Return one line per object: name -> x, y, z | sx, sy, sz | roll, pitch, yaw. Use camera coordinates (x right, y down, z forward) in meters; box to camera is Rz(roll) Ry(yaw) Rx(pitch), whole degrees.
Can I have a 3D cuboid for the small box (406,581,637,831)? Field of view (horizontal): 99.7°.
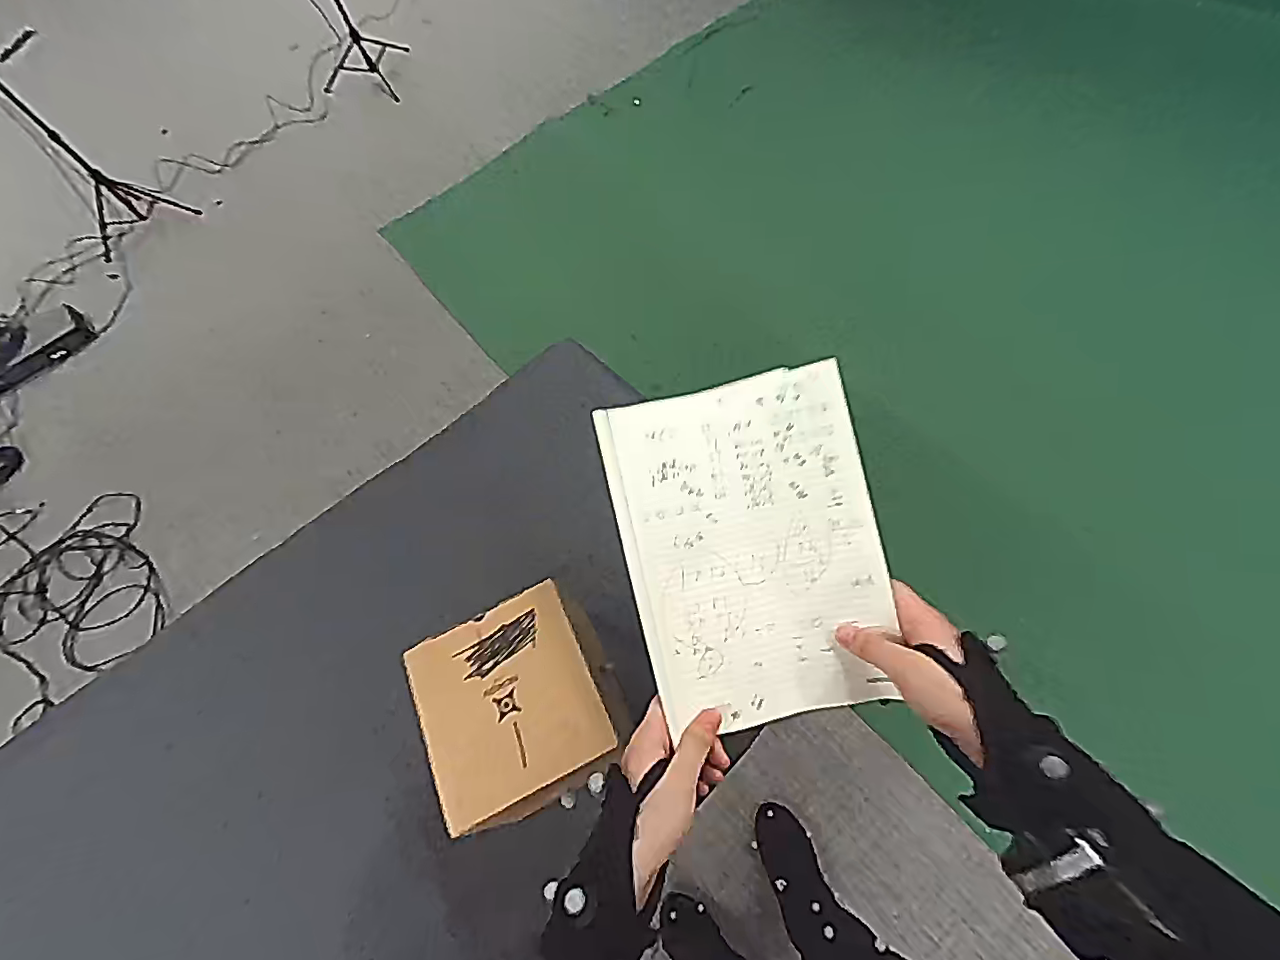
small box -> -0.118, 0.241, 0.584 | 0.168, 0.176, 0.179 | -27, 63, -4
